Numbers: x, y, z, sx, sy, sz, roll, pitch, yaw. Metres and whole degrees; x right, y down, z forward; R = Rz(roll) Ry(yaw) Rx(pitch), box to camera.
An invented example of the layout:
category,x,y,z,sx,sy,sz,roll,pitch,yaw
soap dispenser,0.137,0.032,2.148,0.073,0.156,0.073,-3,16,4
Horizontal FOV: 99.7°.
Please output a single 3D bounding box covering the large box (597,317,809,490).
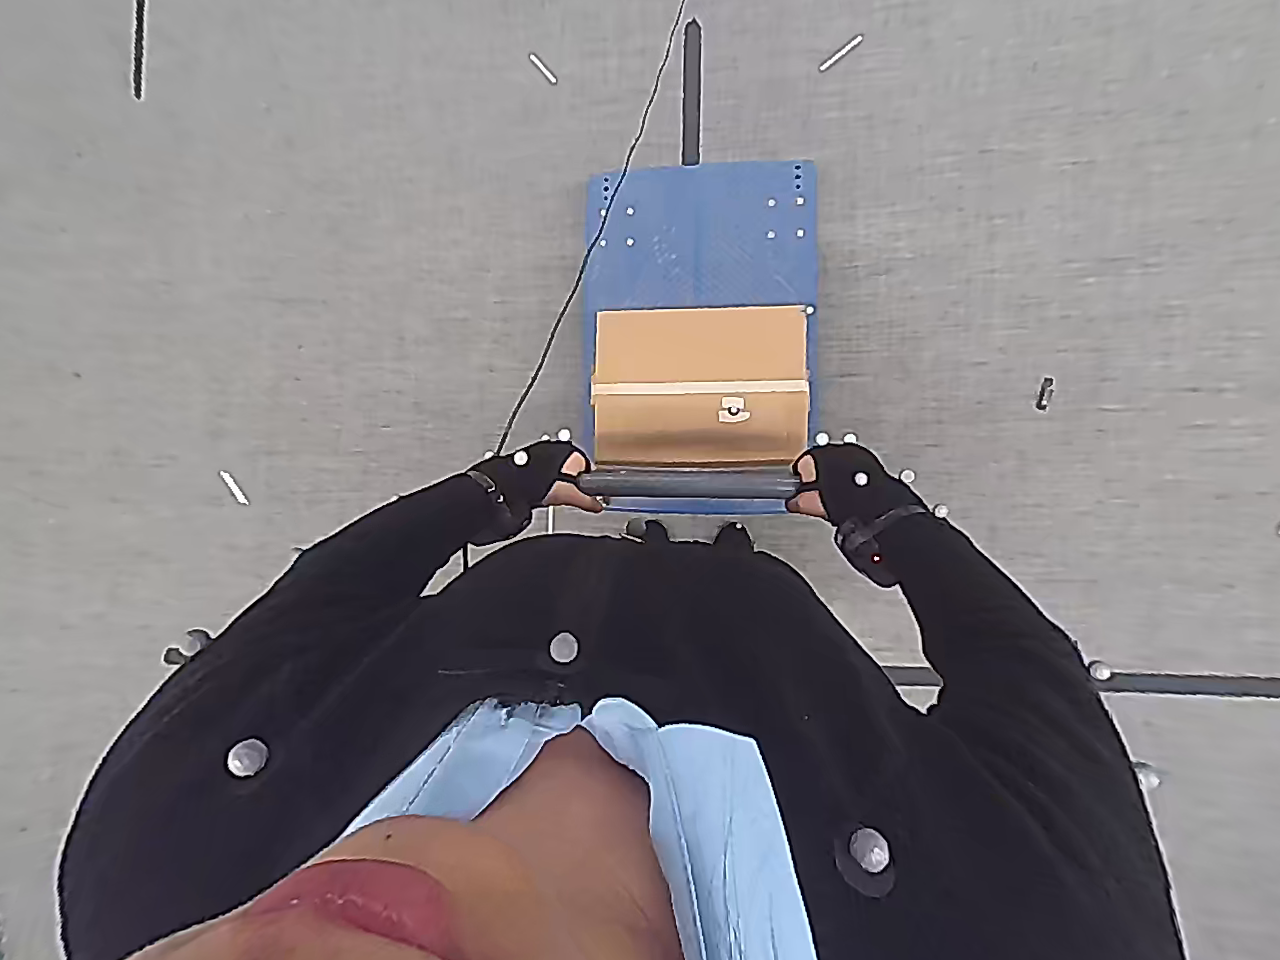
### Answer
category,x,y,z,sx,sy,sz,roll,pitch,yaw
large box,0.128,-0.142,1.173,0.408,0.320,0.320,0,87,6
